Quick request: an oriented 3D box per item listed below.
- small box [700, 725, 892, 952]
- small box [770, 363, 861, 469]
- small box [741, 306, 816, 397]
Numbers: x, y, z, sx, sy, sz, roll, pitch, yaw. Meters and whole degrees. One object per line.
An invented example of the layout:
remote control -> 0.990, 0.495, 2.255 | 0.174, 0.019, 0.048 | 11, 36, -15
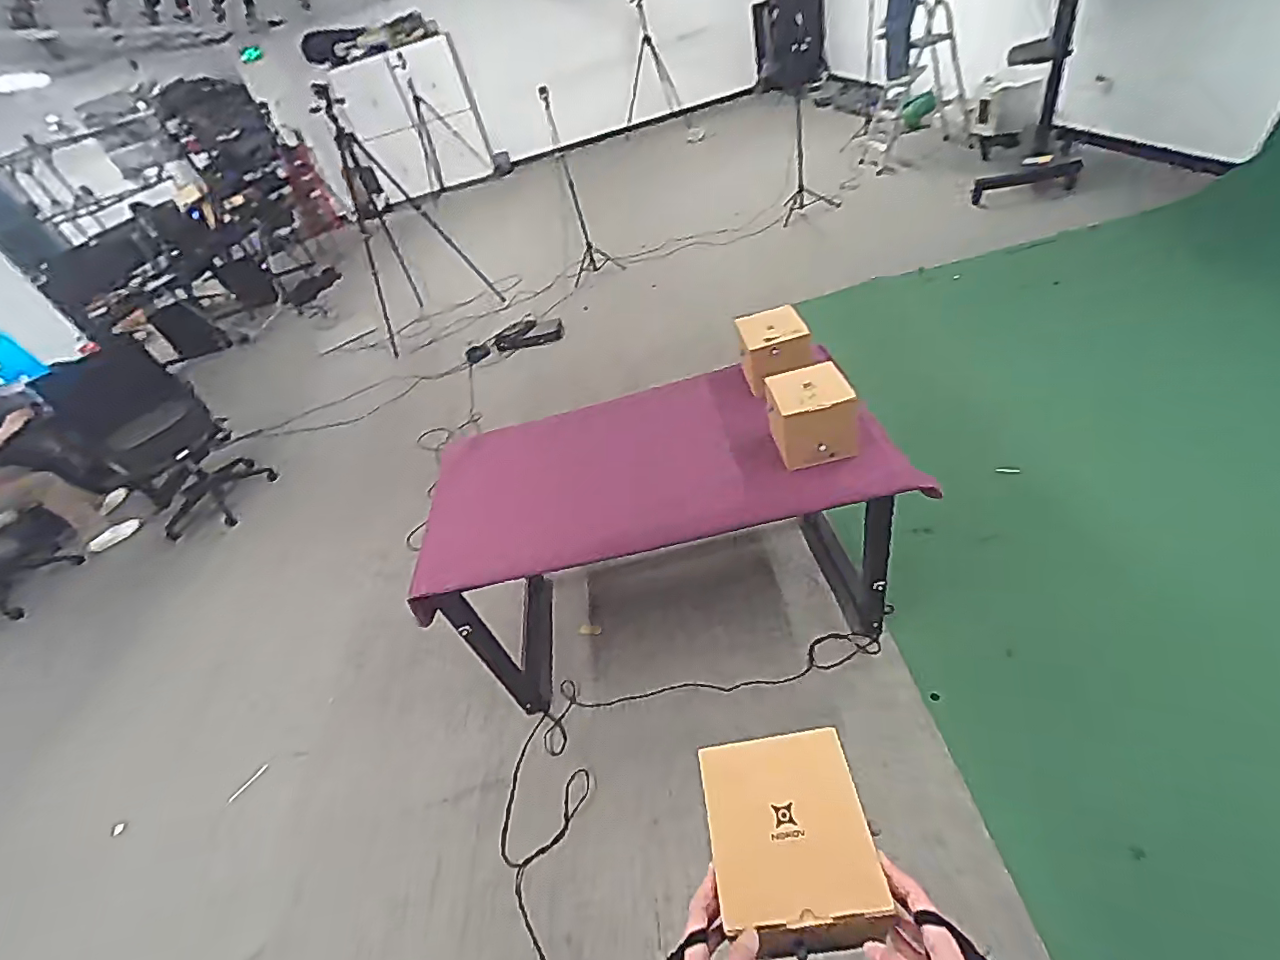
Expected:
small box -> 0.169, 0.417, 0.630 | 0.168, 0.176, 0.179 | -11, 42, 5
small box -> 0.419, -0.153, 1.299 | 0.168, 0.176, 0.179 | -13, 40, 7
small box -> 0.393, -0.364, 1.540 | 0.168, 0.176, 0.179 | -15, 42, 7
